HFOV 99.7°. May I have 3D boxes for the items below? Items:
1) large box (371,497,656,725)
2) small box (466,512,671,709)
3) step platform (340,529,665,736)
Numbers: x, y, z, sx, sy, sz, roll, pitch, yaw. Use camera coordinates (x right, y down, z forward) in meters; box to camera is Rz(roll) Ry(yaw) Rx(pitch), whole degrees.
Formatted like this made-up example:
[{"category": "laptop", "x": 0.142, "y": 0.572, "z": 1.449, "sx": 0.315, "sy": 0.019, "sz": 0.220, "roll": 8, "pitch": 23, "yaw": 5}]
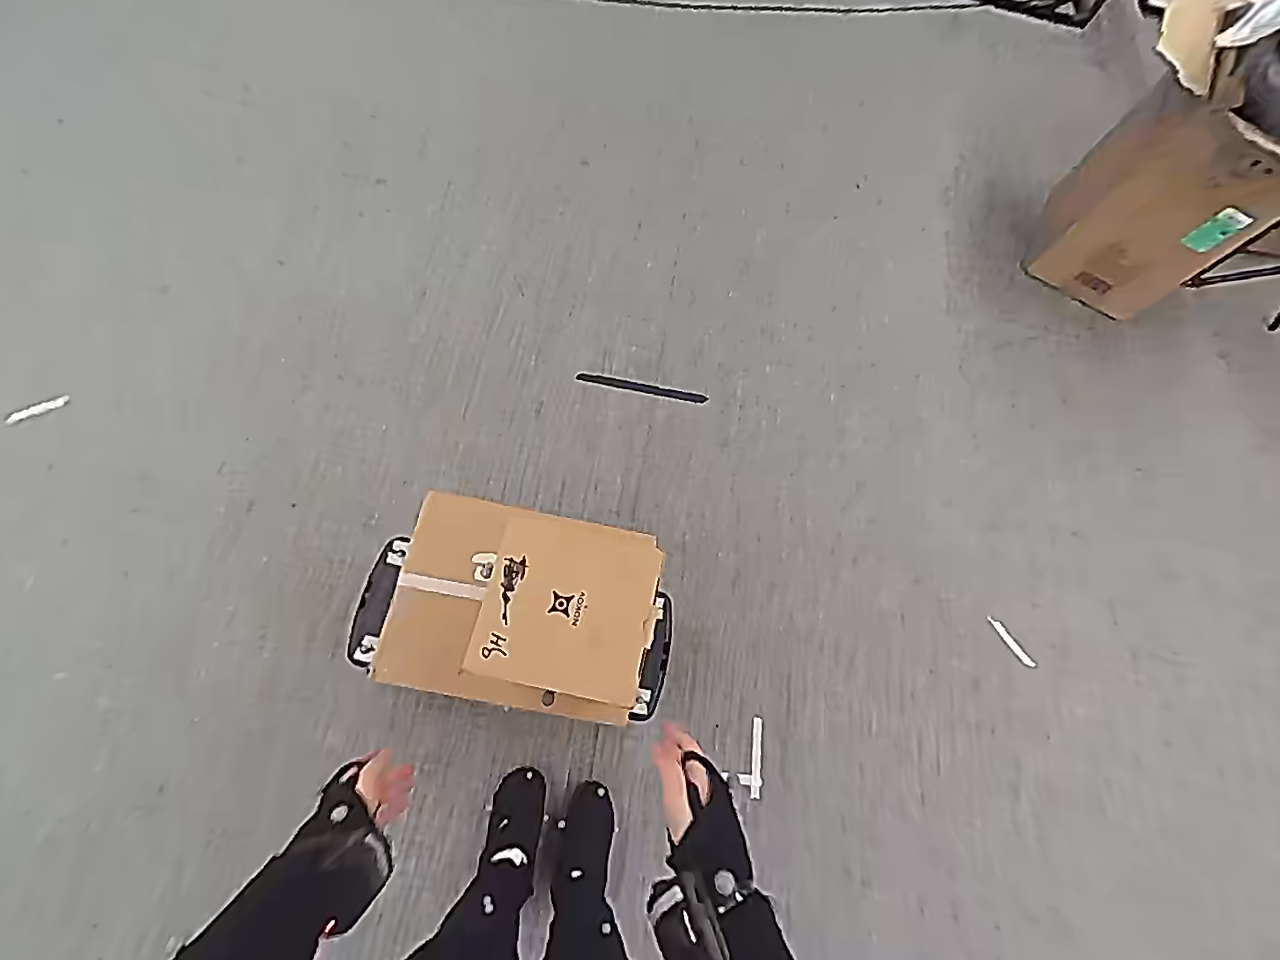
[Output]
[{"category": "large box", "x": -0.203, "y": 0.254, "z": 1.013, "sx": 0.408, "sy": 0.320, "sz": 0.320, "roll": 11, "pitch": 68, "yaw": -2}, {"category": "small box", "x": -0.079, "y": 0.156, "z": 0.626, "sx": 0.179, "sy": 0.176, "sz": 0.168, "roll": 15, "pitch": 67, "yaw": -3}, {"category": "step platform", "x": -0.288, "y": 0.342, "z": 1.224, "sx": 0.684, "sy": 0.204, "sz": 0.286, "roll": 17, "pitch": 68, "yaw": 0}]
